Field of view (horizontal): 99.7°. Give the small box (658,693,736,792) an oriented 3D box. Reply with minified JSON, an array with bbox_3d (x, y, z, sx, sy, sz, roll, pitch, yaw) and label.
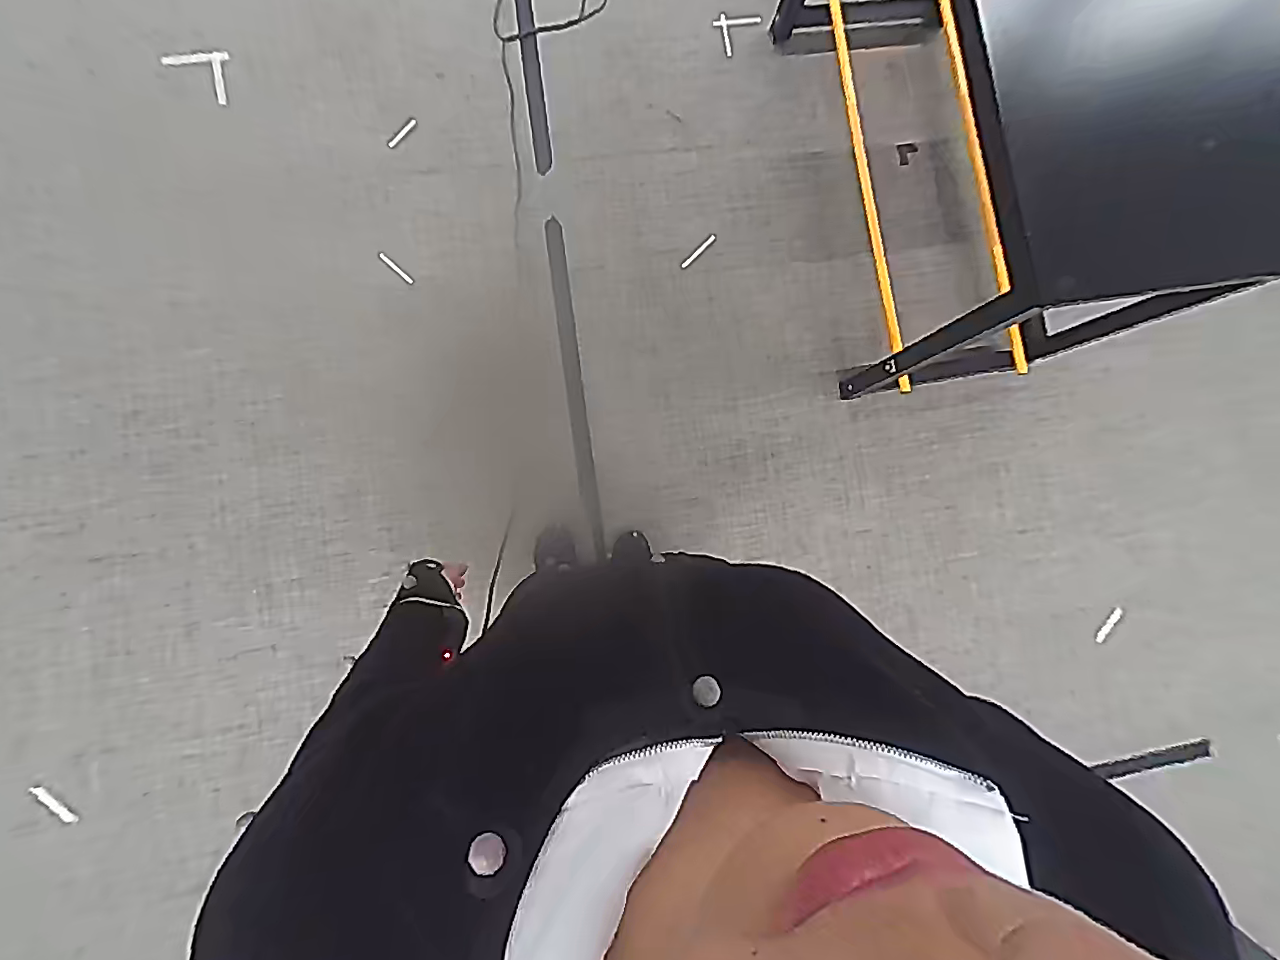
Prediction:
[{"bbox_3d":[0.154,0.672,1.406,0.179,0.176,0.168,-11,86,-5],"label":"small box"}]

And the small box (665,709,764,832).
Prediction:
[{"bbox_3d":[0.164,0.657,1.245,0.168,0.176,0.179,-13,85,-8],"label":"small box"}]
